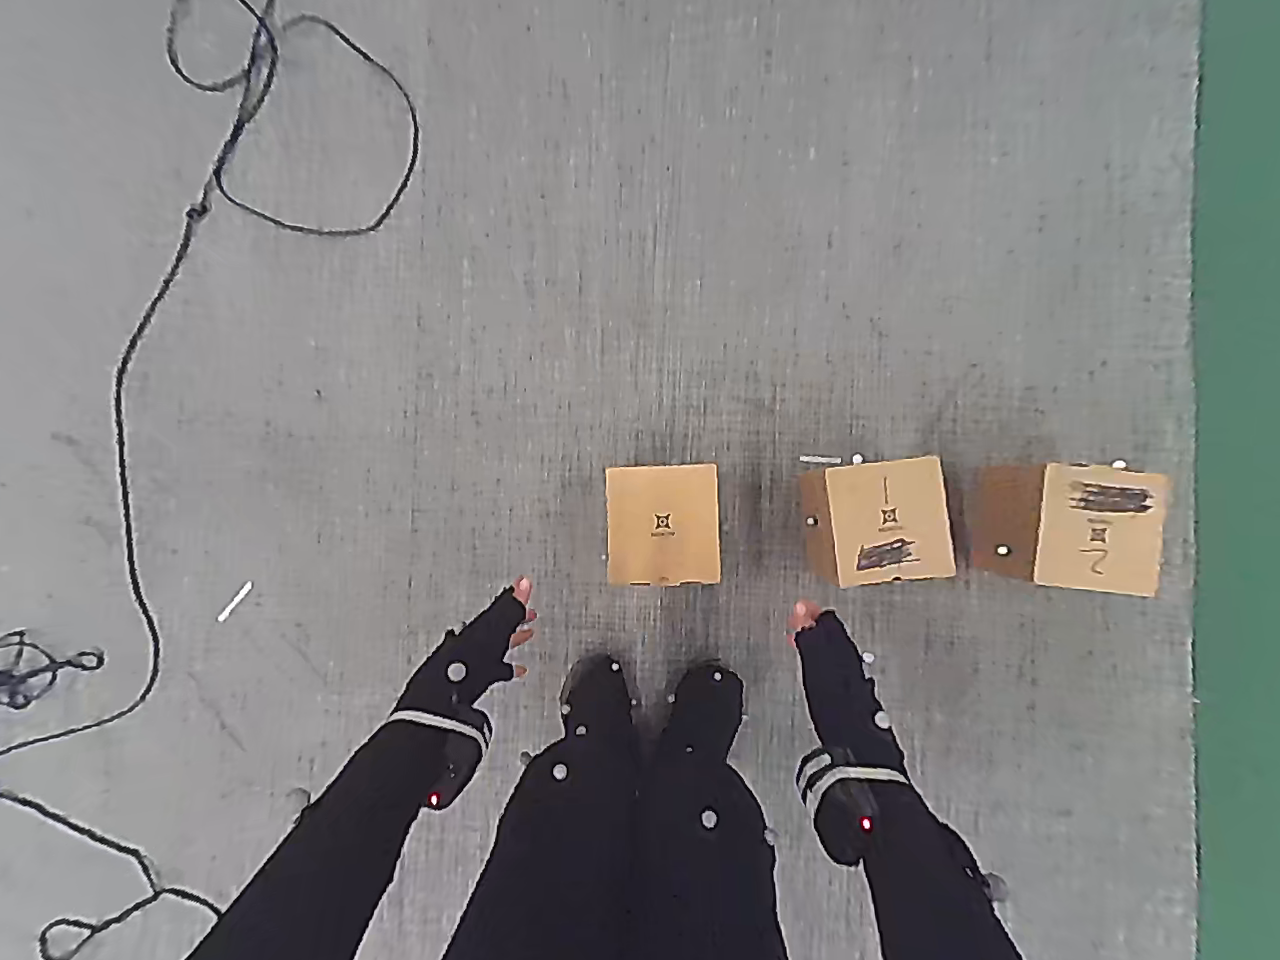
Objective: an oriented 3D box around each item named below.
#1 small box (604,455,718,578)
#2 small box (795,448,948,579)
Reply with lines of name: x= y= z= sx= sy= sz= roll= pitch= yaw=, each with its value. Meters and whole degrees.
small box: x=0.034 y=0.056 z=0.868 sx=0.168 sy=0.176 sz=0.179 roll=-3 pitch=89 yaw=4
small box: x=0.351 y=0.049 z=0.848 sx=0.168 sy=0.176 sz=0.179 roll=-7 pitch=88 yaw=3
